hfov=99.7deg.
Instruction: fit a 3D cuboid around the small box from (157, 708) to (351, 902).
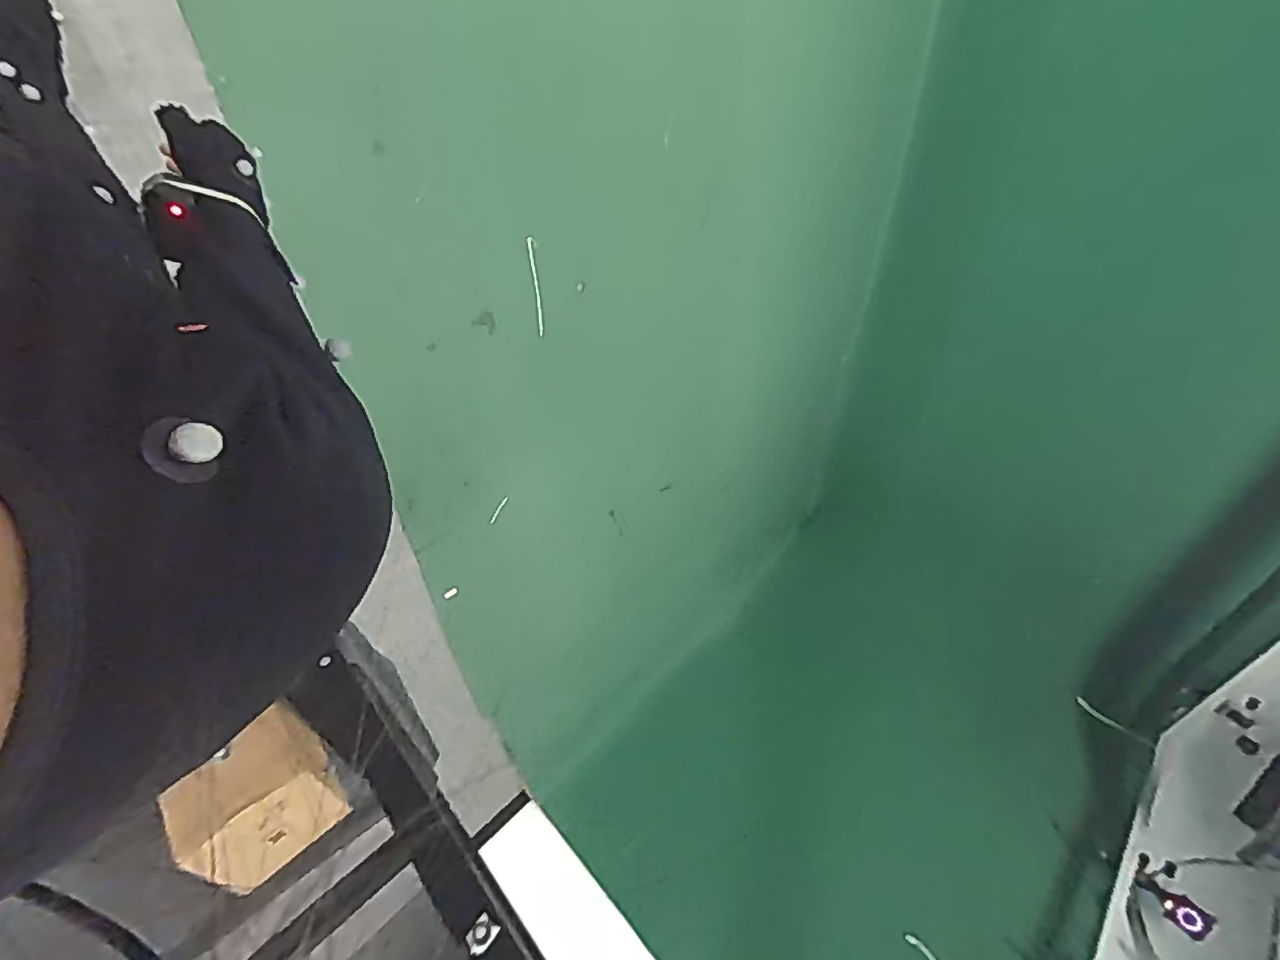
[{"bbox_3d":[-0.590,0.492,0.836,0.168,0.176,0.179,-35,140,-31],"label":"small box"}]
